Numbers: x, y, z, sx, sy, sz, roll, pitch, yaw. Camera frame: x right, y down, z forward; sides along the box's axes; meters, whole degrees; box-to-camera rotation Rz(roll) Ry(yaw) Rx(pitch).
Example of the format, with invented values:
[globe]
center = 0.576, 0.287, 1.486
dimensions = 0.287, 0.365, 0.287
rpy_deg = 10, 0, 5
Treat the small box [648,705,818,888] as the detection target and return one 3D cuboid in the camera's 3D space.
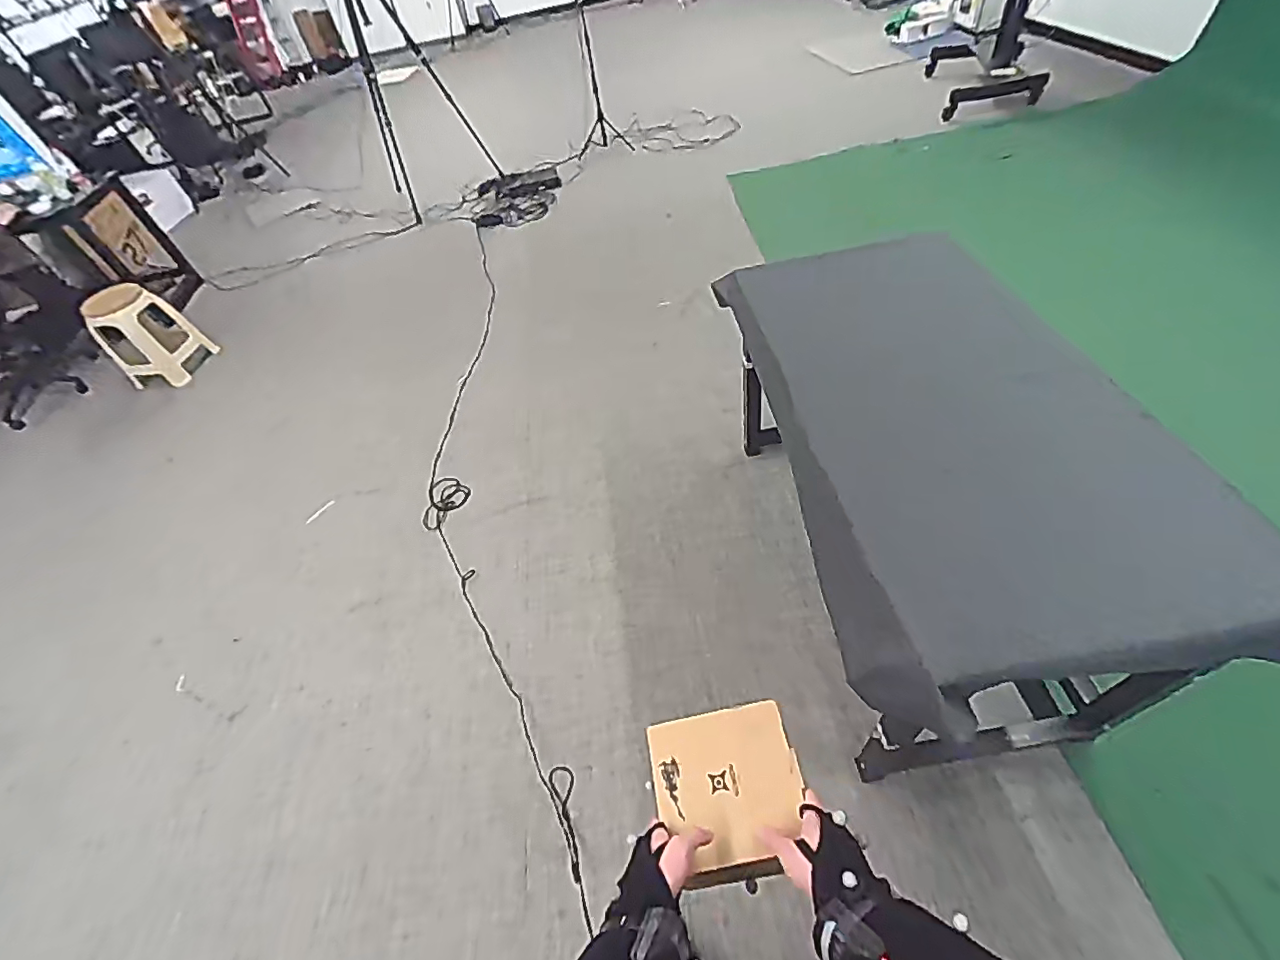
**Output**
[small box]
center = 0.117, 0.419, 0.710
dimensions = 0.179, 0.176, 0.168
rpy_deg = -13, 48, 3
